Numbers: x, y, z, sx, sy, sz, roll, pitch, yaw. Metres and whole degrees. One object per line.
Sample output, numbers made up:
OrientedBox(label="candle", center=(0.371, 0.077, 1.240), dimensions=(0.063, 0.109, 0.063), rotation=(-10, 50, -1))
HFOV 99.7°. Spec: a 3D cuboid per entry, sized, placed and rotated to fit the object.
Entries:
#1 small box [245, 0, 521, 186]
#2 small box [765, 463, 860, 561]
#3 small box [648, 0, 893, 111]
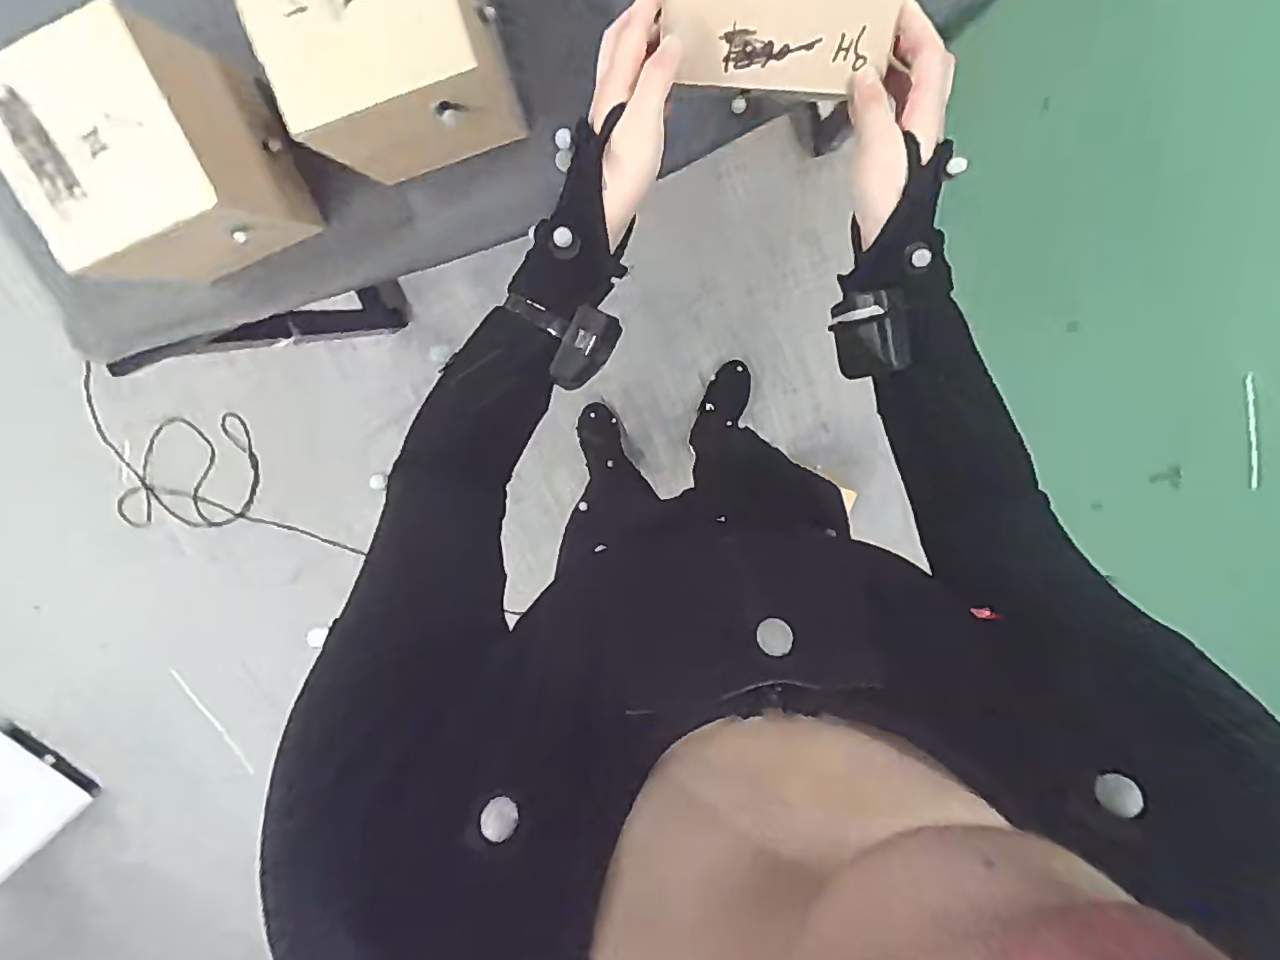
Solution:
OrientedBox(label="small box", center=(-0.228, -0.408, 0.514), dimensions=(0.179, 0.176, 0.168), rotation=(-14, 104, 8))
OrientedBox(label="small box", center=(0.433, 0.076, 1.395), dimensions=(0.168, 0.176, 0.179), rotation=(18, 107, -2))
OrientedBox(label="small box", center=(0.093, -0.396, 0.417), dimensions=(0.168, 0.176, 0.179), rotation=(3, 124, 0))
